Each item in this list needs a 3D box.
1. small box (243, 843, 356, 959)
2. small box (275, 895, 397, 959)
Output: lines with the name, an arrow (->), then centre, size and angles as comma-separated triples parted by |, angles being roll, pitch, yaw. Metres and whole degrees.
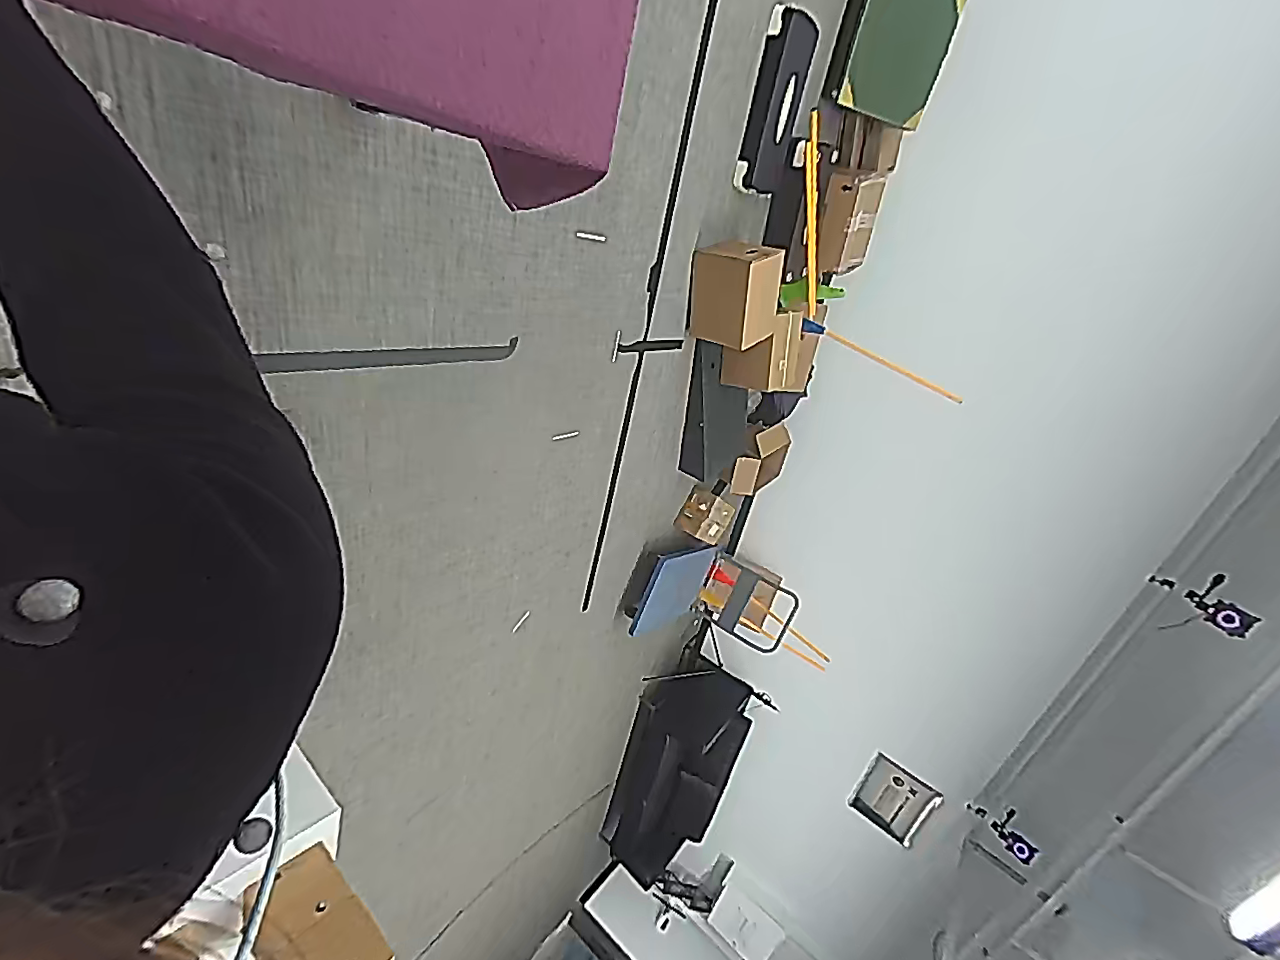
small box -> -0.788, 0.996, 1.248 | 0.168, 0.176, 0.179 | -13, 128, -54
small box -> -0.660, 1.064, 1.168 | 0.179, 0.176, 0.168 | -13, 126, -53
